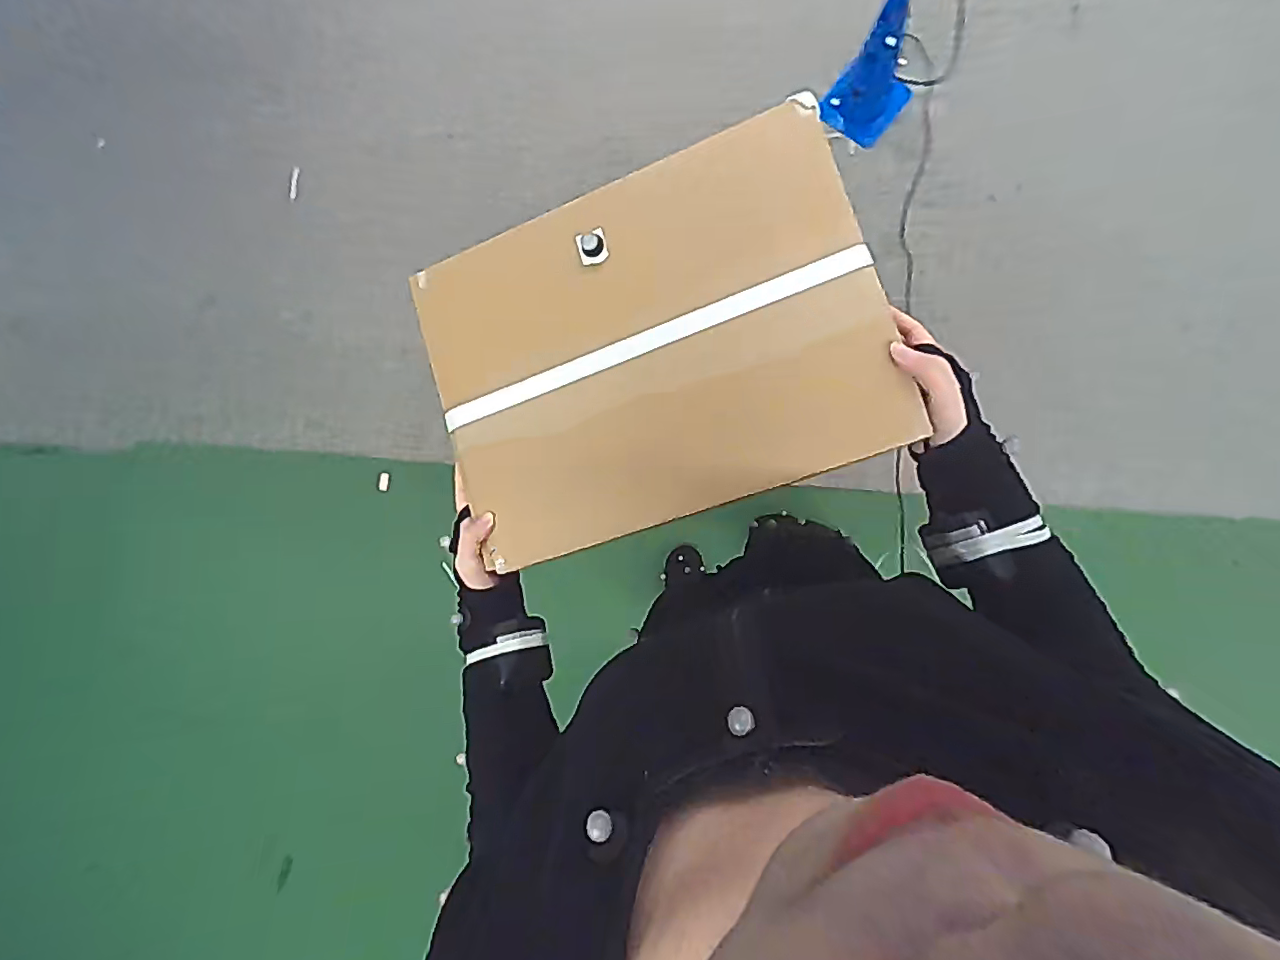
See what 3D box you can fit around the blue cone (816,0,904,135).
[{"bbox_3d":[0.581,-1.068,1.327,0.192,0.380,0.193,37,93,9],"label":"blue cone"}]
